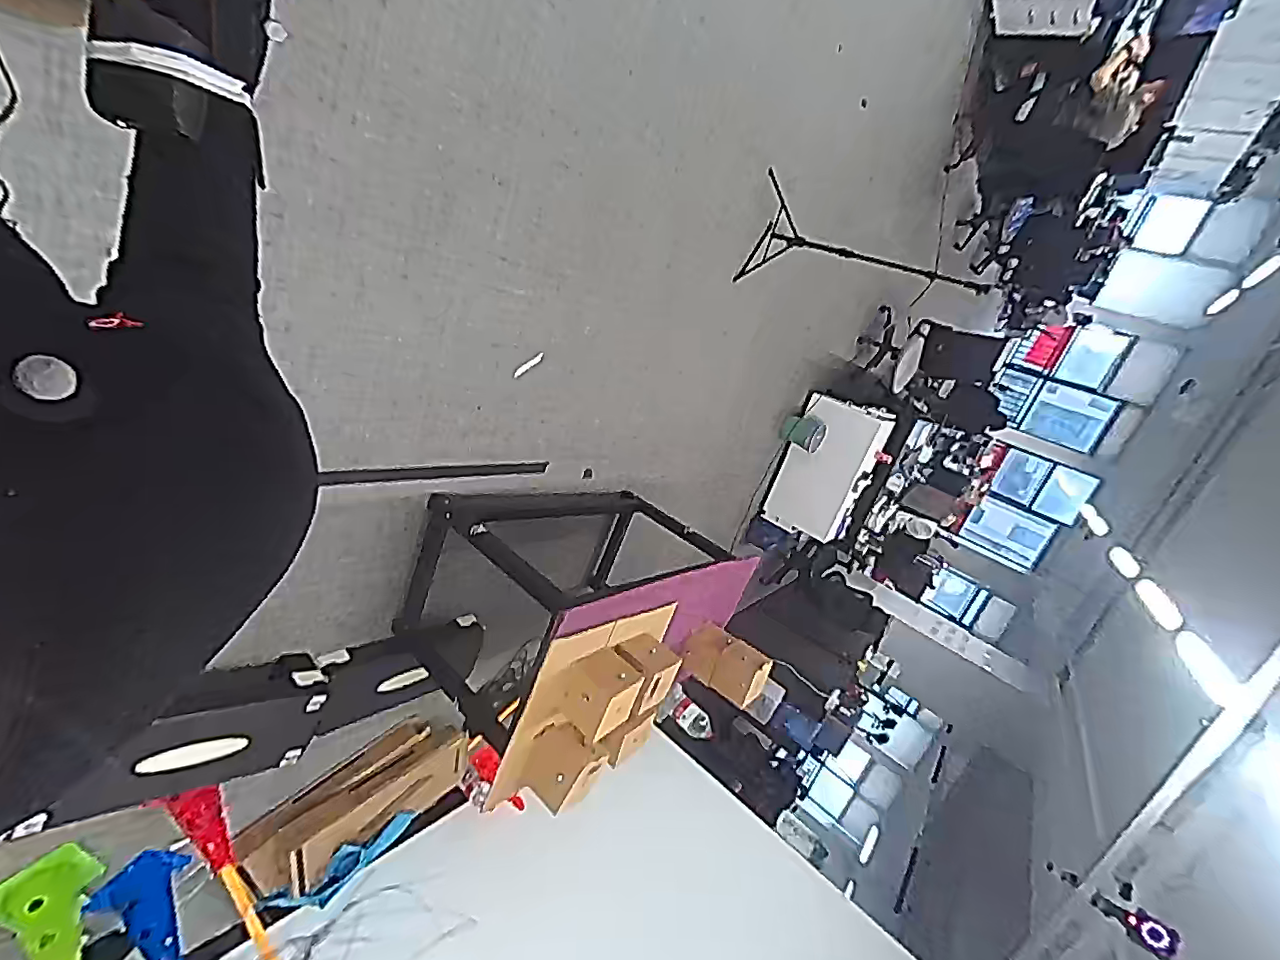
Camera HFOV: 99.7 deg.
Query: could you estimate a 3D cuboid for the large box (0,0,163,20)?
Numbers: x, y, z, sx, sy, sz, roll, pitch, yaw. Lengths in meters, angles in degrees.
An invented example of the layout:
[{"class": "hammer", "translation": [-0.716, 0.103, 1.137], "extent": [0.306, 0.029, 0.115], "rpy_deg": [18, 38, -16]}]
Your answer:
[{"class": "large box", "translation": [-0.495, -0.473, 0.211], "extent": [0.408, 0.320, 0.320], "rpy_deg": [-10, 123, -57]}]
